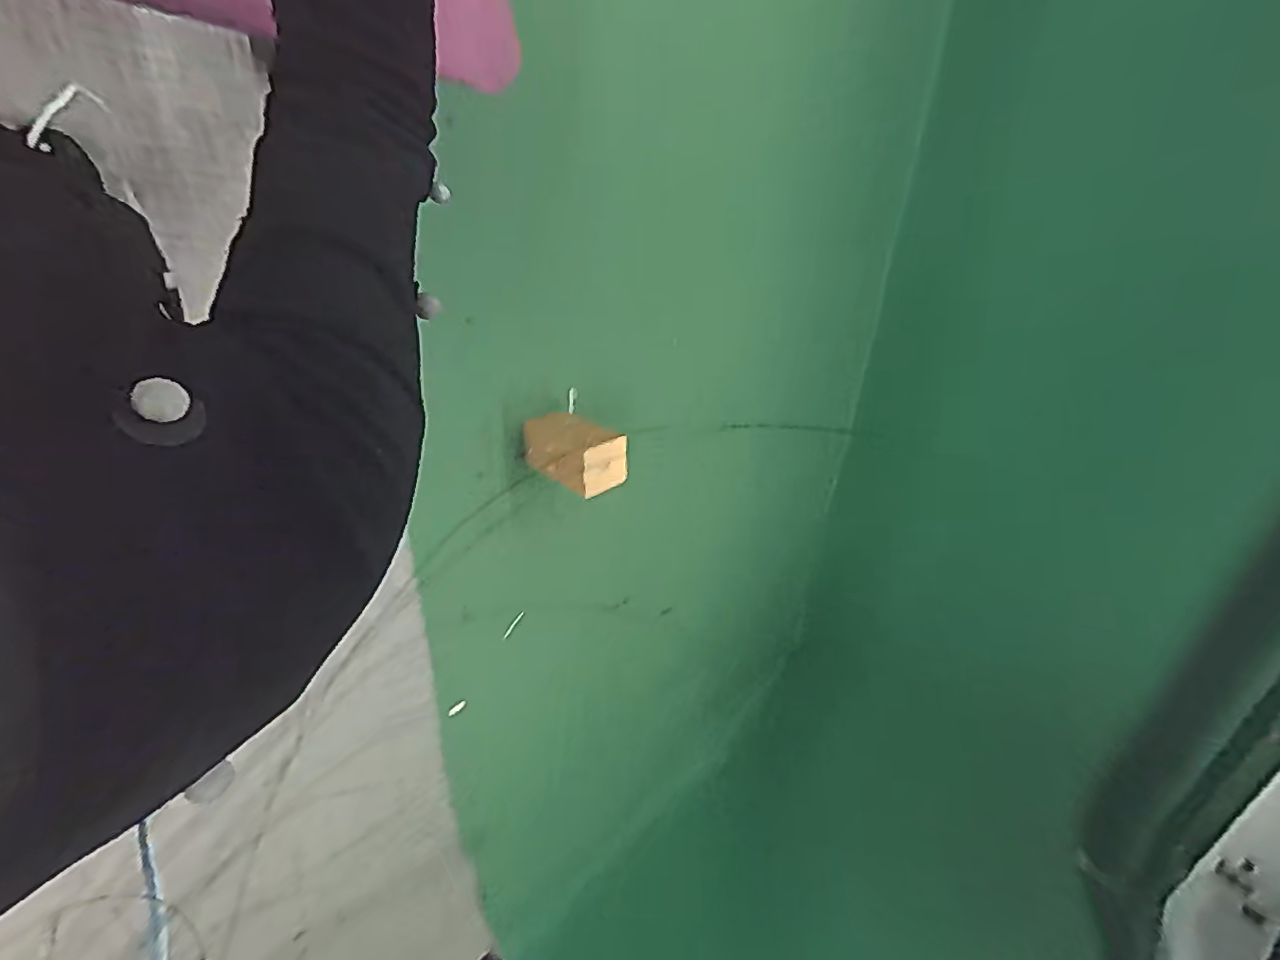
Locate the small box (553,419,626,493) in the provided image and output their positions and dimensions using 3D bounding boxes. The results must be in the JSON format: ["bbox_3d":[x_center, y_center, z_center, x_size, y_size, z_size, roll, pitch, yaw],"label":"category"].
[{"bbox_3d":[-0.163,-0.085,1.777,0.179,0.176,0.168,-25,128,-37],"label":"small box"}]

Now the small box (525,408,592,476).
[{"bbox_3d":[-0.278,-0.140,1.878,0.179,0.176,0.168,-24,126,-39],"label":"small box"}]
